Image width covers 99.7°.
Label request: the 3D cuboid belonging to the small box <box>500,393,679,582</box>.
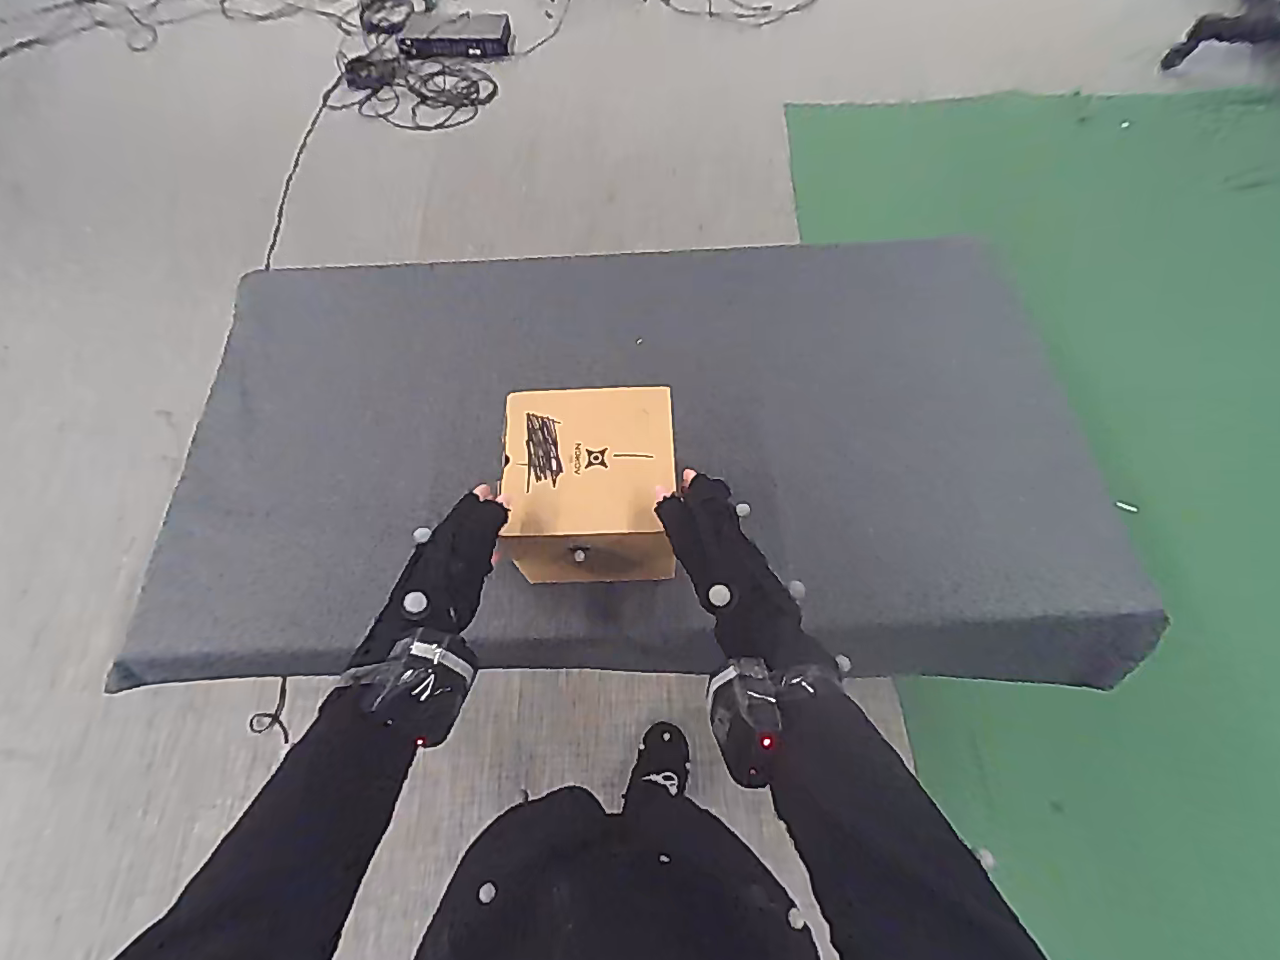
[{"bbox_3d":[-0.048,0.017,0.622,0.179,0.176,0.168,-2,64,0],"label":"small box"}]
